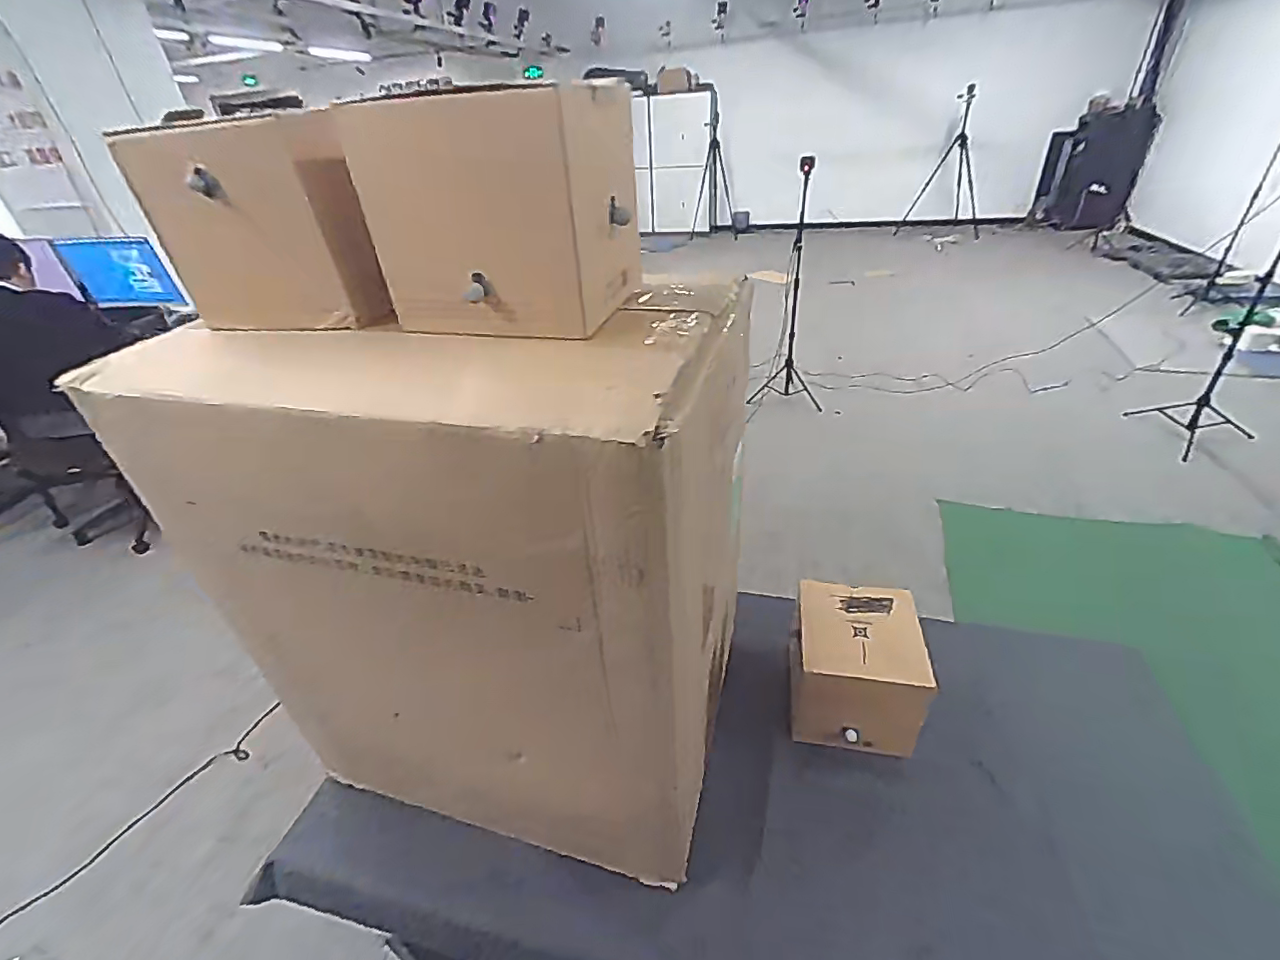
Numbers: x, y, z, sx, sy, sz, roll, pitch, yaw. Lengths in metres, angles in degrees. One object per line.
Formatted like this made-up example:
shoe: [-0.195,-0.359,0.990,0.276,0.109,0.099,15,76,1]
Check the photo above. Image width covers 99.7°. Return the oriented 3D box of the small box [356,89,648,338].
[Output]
small box: [-0.095,-0.233,0.471,0.179,0.176,0.168,7,36,14]

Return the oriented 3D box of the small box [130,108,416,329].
small box: [-0.309,-0.255,0.527,0.179,0.176,0.168,5,38,13]
